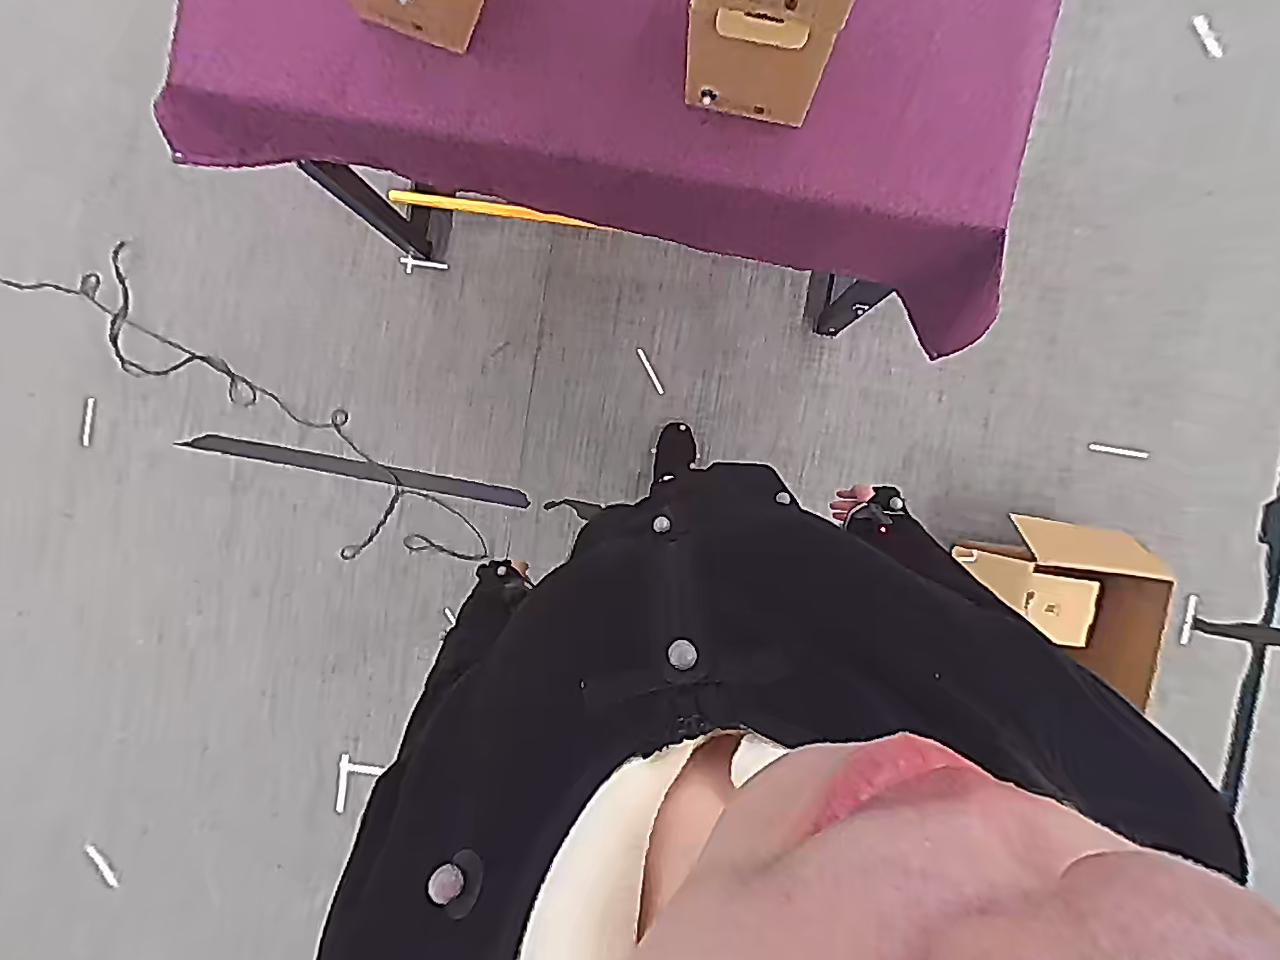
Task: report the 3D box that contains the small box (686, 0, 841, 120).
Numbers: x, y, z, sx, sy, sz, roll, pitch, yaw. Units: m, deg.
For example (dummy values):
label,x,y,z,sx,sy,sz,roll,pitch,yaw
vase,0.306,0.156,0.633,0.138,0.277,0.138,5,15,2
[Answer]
label,x,y,z,sx,sy,sz,roll,pitch,yaw
small box,0.154,-0.586,0.662,0.168,0.176,0.179,13,92,2

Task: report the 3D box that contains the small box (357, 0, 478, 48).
label,x,y,z,sx,sy,sz,roll,pitch,yaw
small box,-0.295,-0.704,0.677,0.168,0.176,0.179,21,93,1
